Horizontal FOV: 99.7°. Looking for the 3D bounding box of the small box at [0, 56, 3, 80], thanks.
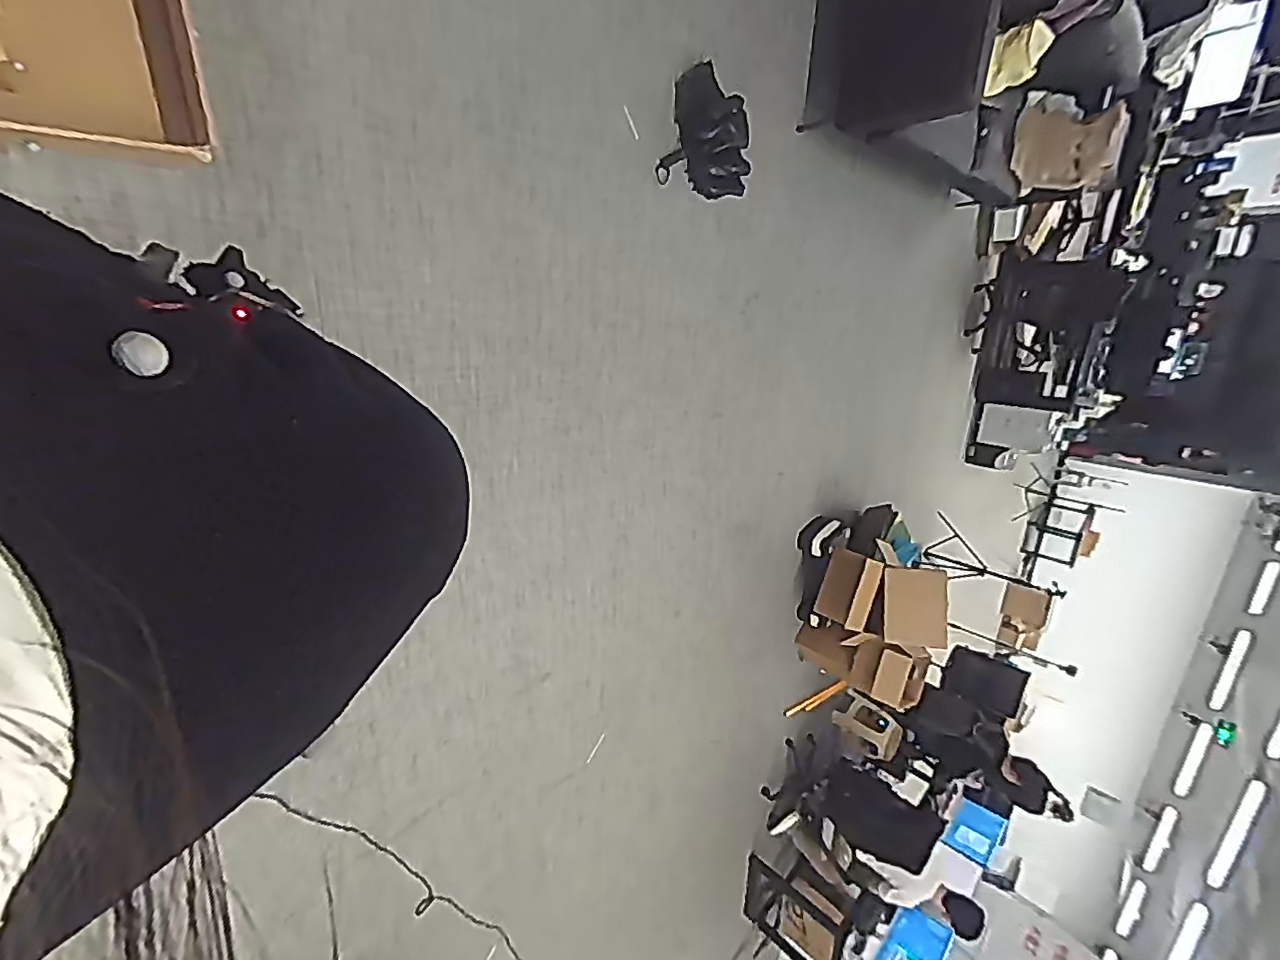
[{"bbox_3d":[-1.011,-0.667,0.728,0.179,0.176,0.168,-13,111,-42],"label":"small box"}]
